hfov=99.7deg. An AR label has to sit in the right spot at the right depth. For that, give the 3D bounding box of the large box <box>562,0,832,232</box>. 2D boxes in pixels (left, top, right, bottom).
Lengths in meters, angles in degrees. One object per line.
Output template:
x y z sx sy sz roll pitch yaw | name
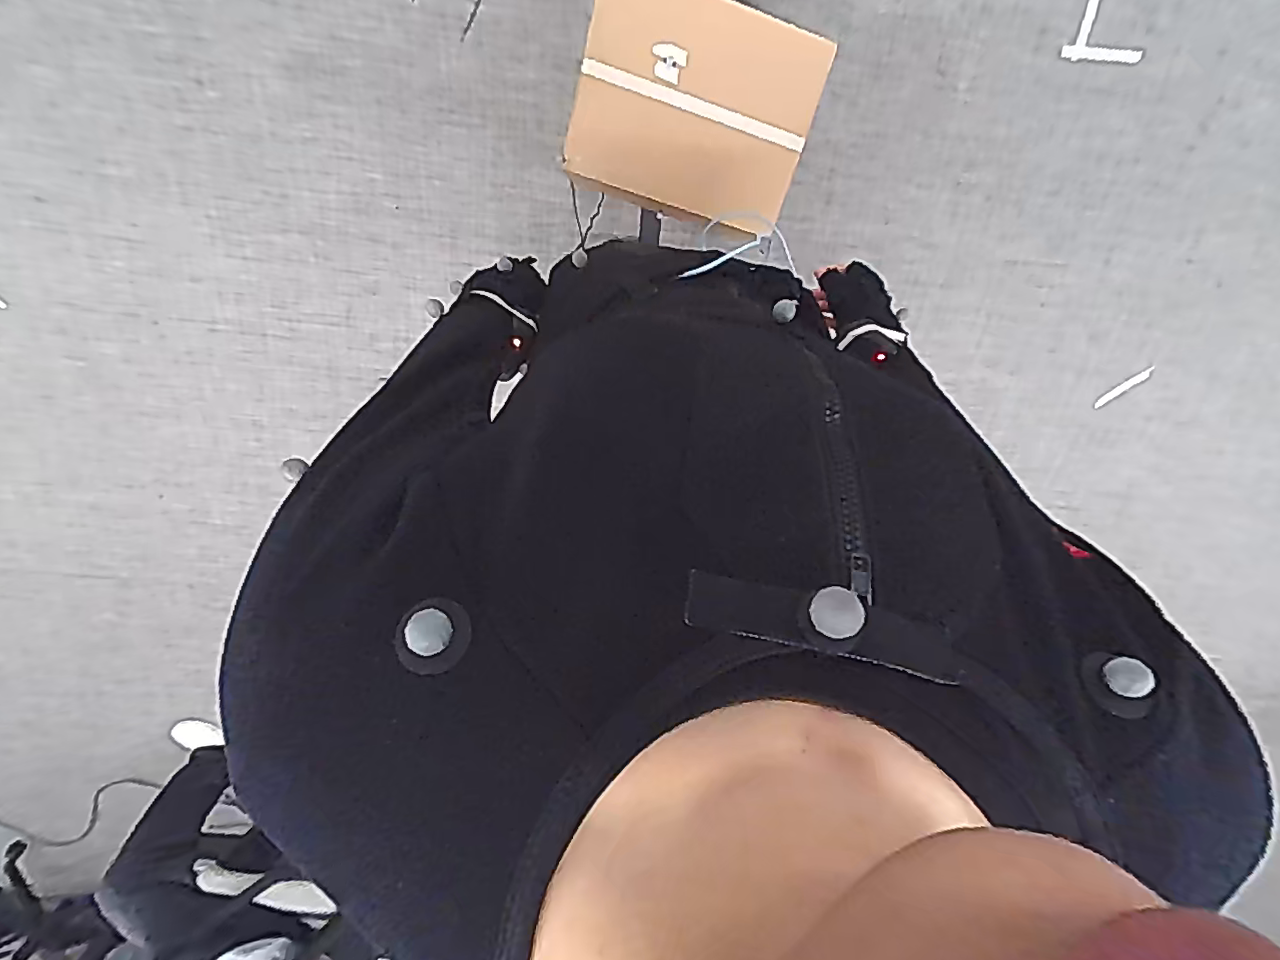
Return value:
0.088 -0.709 1.069 0.408 0.320 0.320 15 112 -9 | large box
